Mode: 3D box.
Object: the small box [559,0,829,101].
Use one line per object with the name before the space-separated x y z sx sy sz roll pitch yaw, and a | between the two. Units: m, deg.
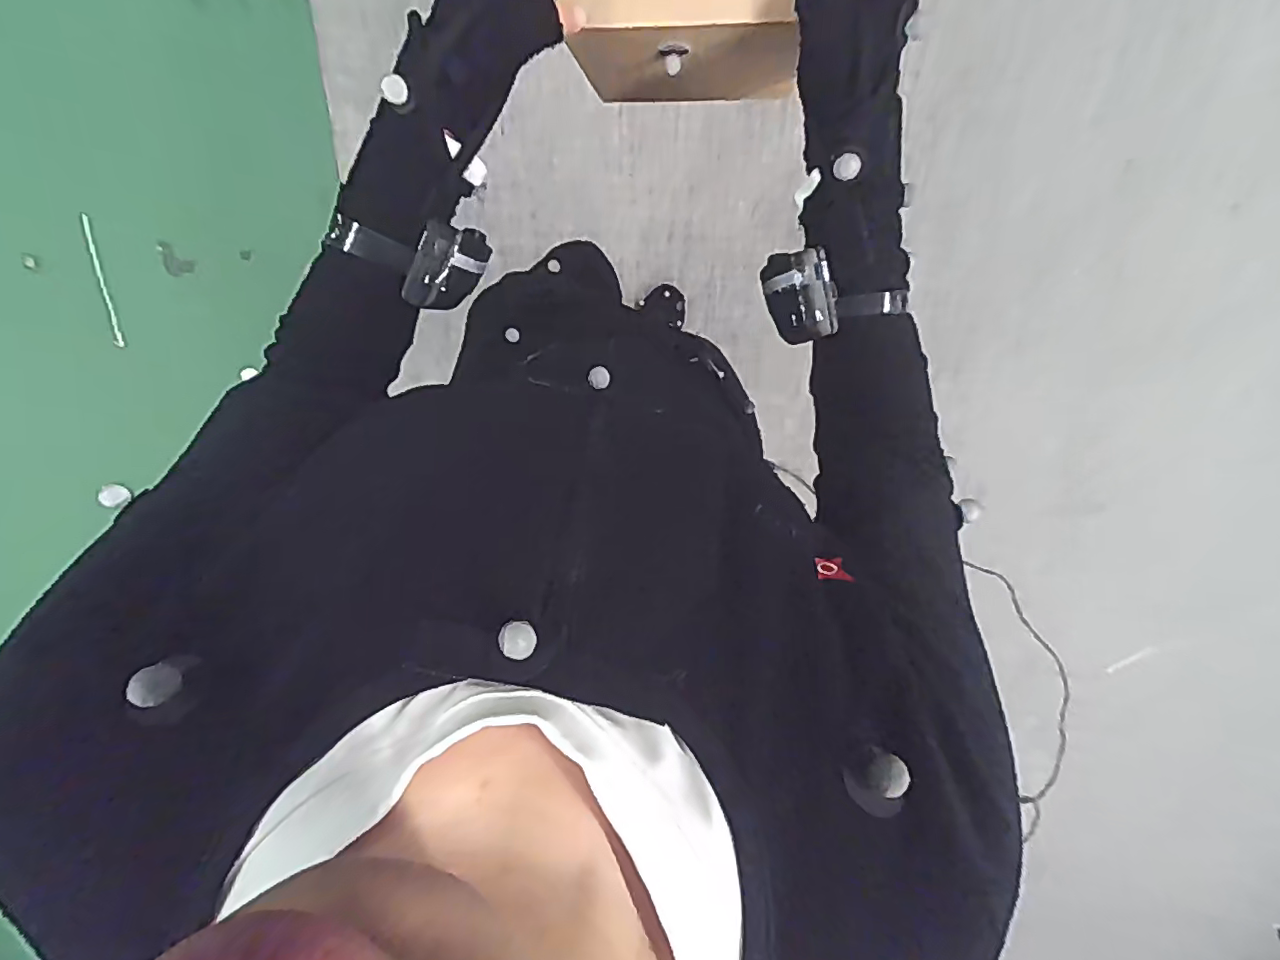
small box | 0.044 -0.398 0.396 0.179 0.176 0.168 3 111 6
